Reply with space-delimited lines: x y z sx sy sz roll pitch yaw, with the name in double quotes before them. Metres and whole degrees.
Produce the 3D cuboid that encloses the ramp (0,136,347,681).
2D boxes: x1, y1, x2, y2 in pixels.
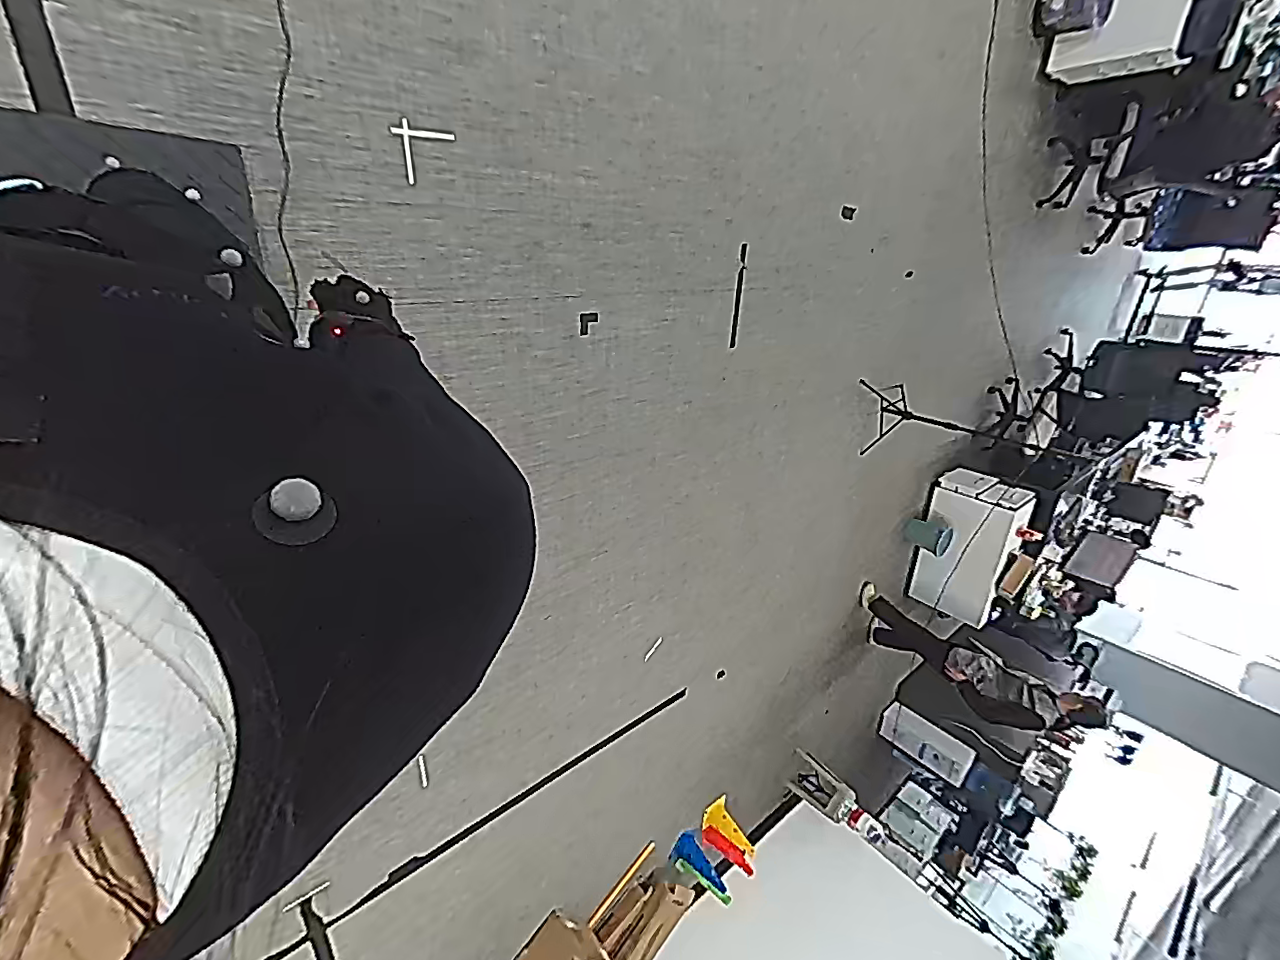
"ramp" -0.972 -0.132 1.103 0.509 0.206 0.991 -16 117 -35
